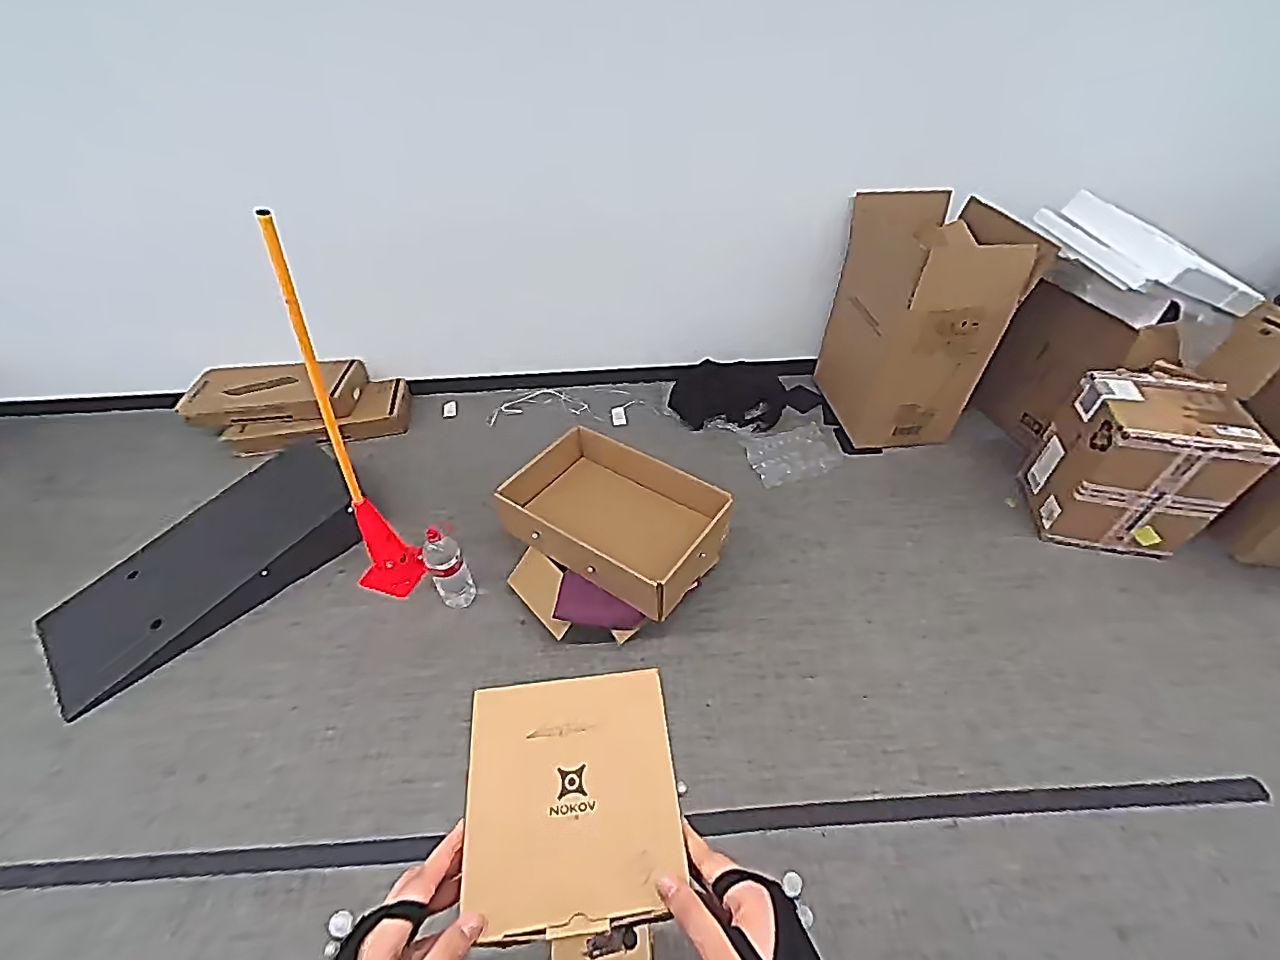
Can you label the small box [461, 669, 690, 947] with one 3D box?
[{"bbox_3d":[-0.055,0.296,0.491,0.168,0.176,0.179,-5,49,-7],"label":"small box"}]
